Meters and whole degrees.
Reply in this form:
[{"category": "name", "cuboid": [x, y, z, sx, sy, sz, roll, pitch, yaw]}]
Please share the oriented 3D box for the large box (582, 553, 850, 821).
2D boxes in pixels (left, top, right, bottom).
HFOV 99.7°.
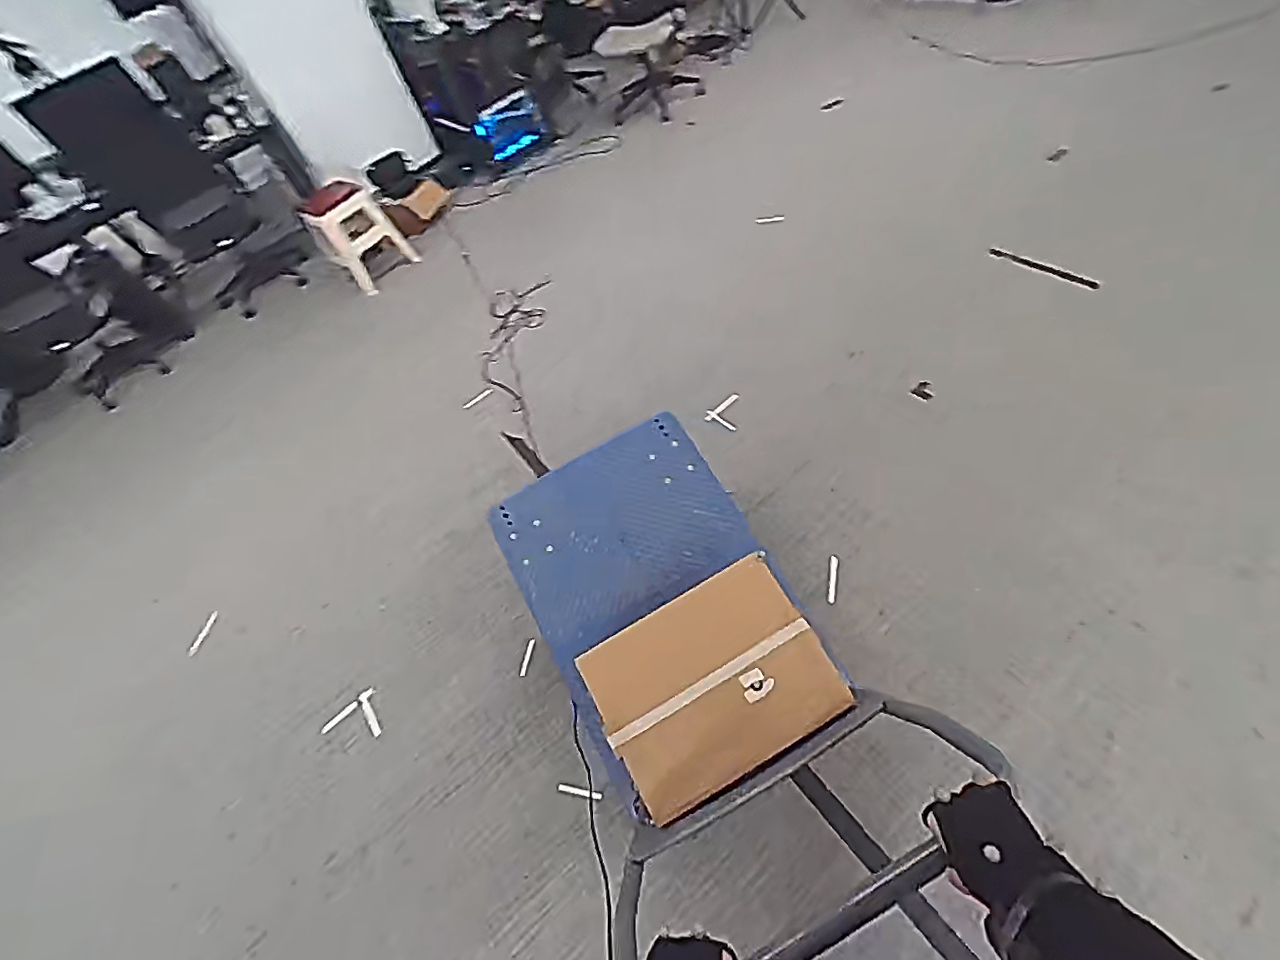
[{"category": "large box", "cuboid": [0.145, 0.415, 1.127, 0.408, 0.320, 0.320, -30, 71, -6]}]
